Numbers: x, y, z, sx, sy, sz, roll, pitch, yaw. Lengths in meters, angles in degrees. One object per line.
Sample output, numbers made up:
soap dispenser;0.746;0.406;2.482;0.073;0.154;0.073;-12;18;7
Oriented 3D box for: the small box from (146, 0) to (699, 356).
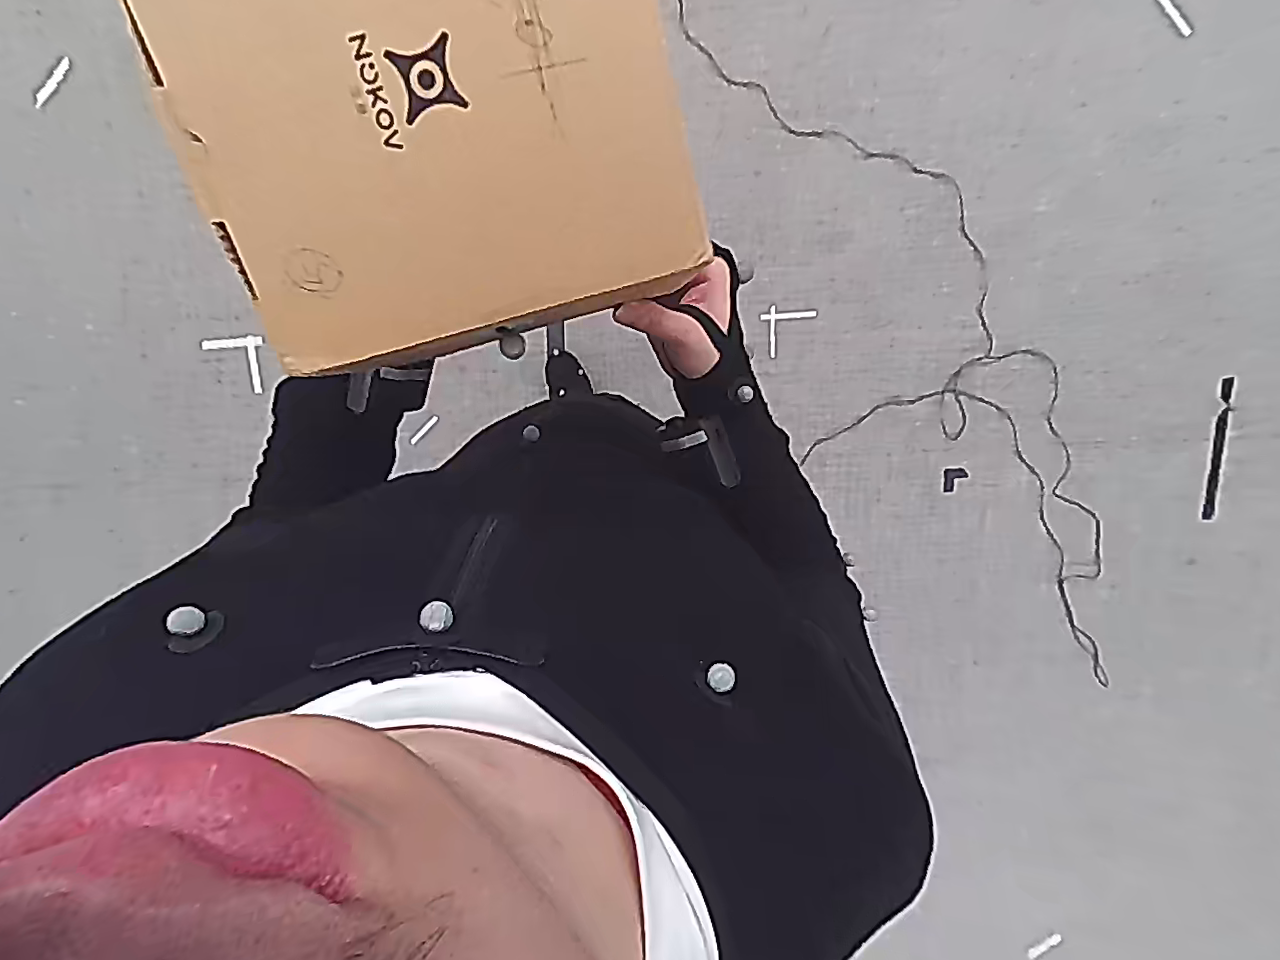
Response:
small box;-0.081;-0.167;0.276;0.179;0.176;0.168;-15;106;2
